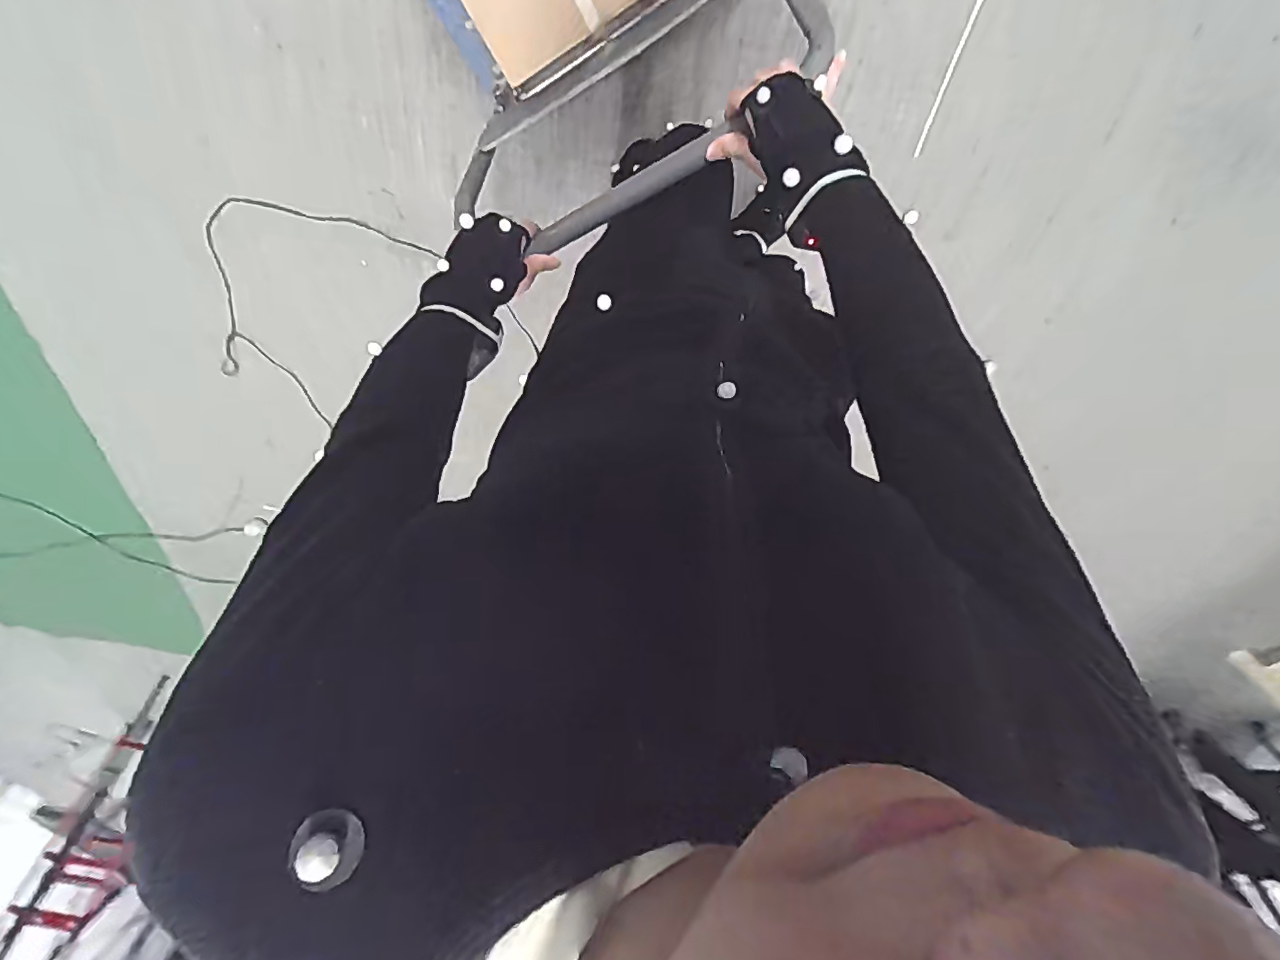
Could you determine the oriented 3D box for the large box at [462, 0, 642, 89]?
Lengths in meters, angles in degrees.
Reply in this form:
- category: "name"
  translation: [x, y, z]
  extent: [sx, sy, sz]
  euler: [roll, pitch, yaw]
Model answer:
- category: "large box"
  translation: [-0.151, -0.890, 0.778]
  extent: [0.320, 0.320, 0.408]
  euler: [-20, 132, 21]
